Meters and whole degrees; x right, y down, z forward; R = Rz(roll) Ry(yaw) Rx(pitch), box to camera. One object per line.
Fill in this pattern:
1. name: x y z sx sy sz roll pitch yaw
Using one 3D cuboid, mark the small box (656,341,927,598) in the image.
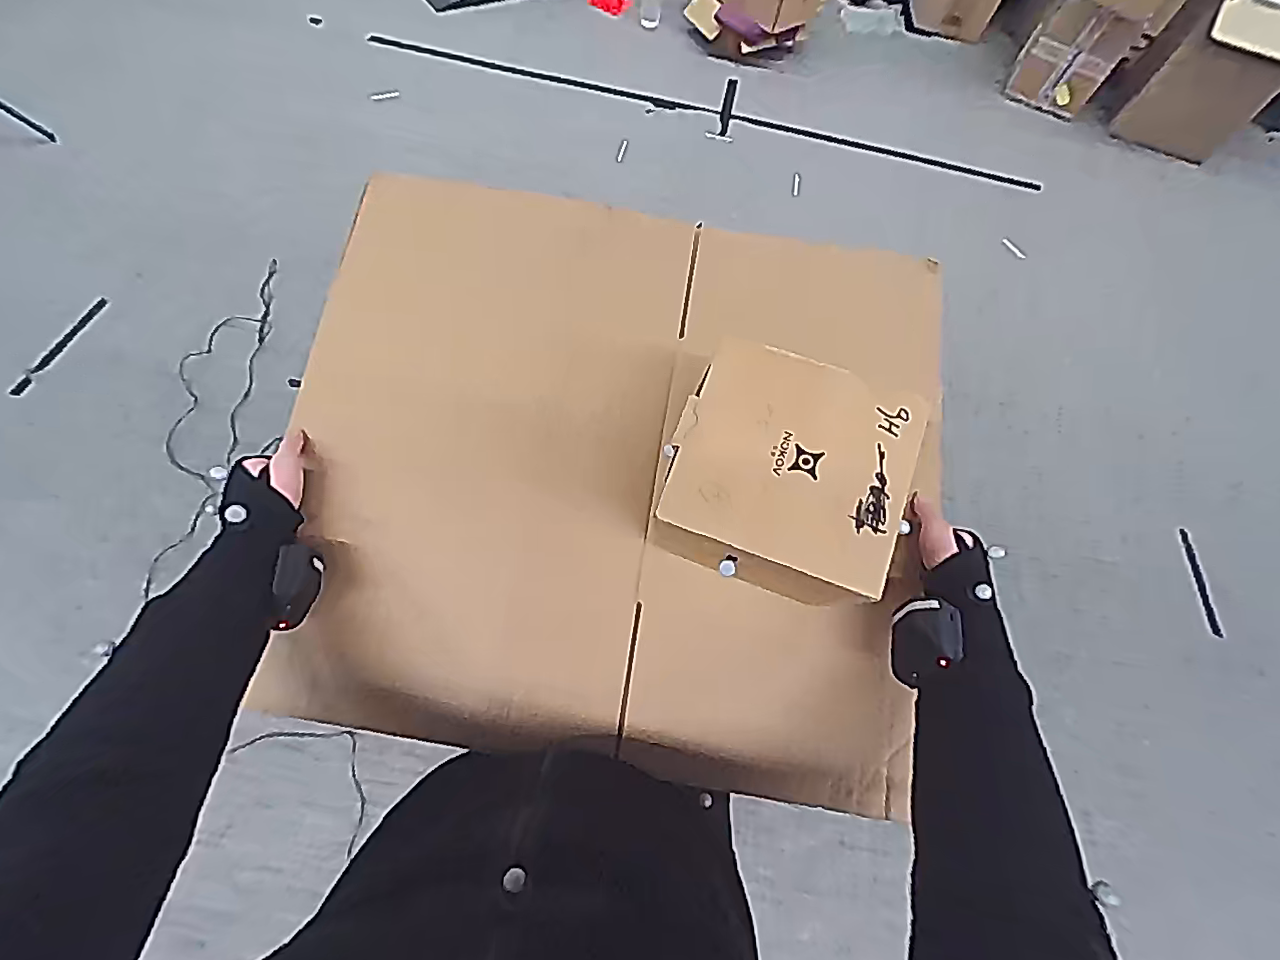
1. small box: 0.124 0.004 0.500 0.179 0.176 0.168 19 77 8
